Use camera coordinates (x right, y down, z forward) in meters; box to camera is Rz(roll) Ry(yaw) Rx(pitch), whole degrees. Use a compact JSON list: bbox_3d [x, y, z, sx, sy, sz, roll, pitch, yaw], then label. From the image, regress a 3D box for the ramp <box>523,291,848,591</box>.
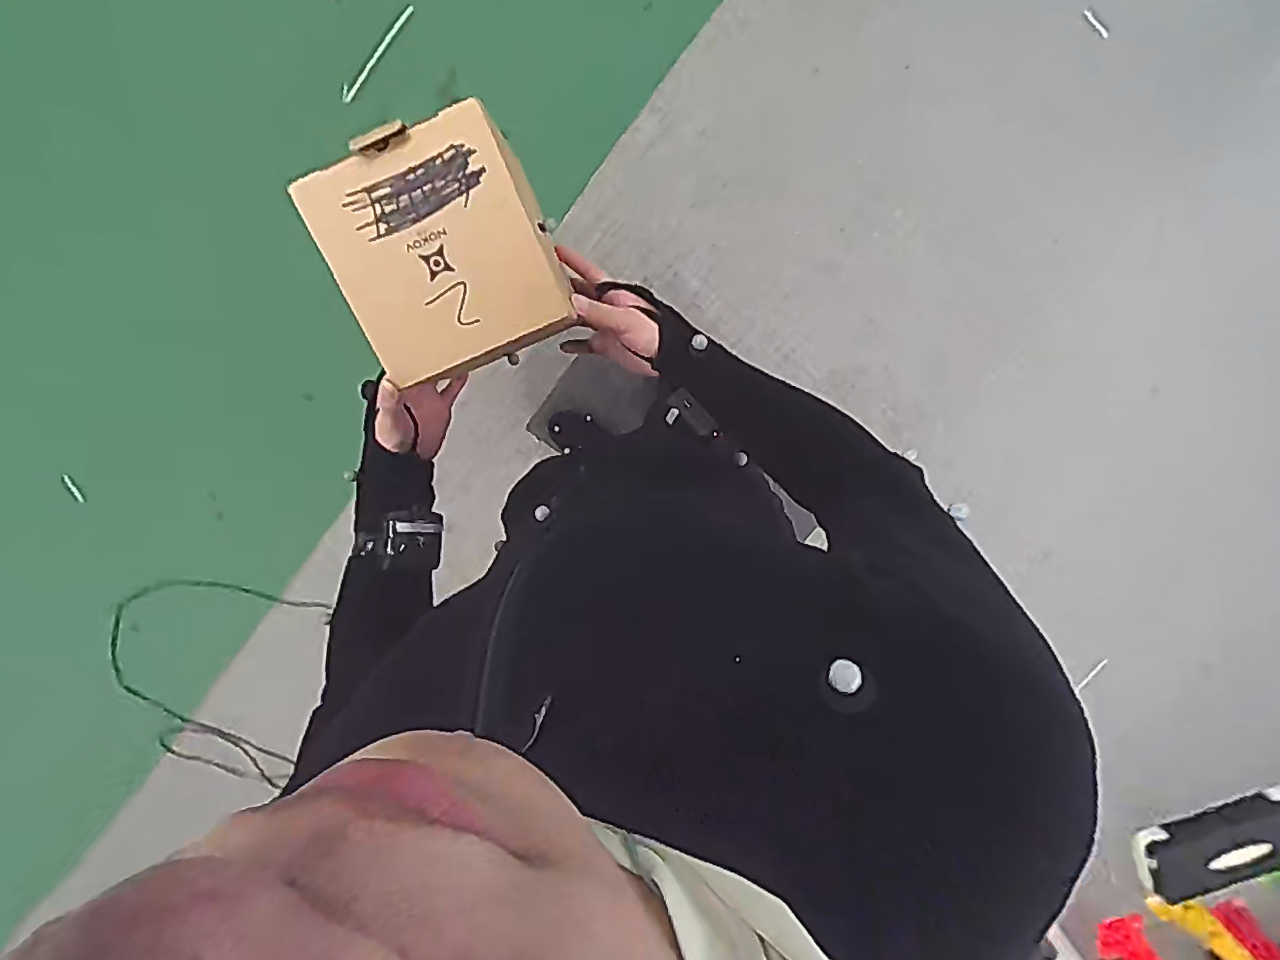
[{"bbox_3d":[0.188,-0.070,1.688,0.991,0.206,0.509,35,96,-10],"label":"ramp"}]
